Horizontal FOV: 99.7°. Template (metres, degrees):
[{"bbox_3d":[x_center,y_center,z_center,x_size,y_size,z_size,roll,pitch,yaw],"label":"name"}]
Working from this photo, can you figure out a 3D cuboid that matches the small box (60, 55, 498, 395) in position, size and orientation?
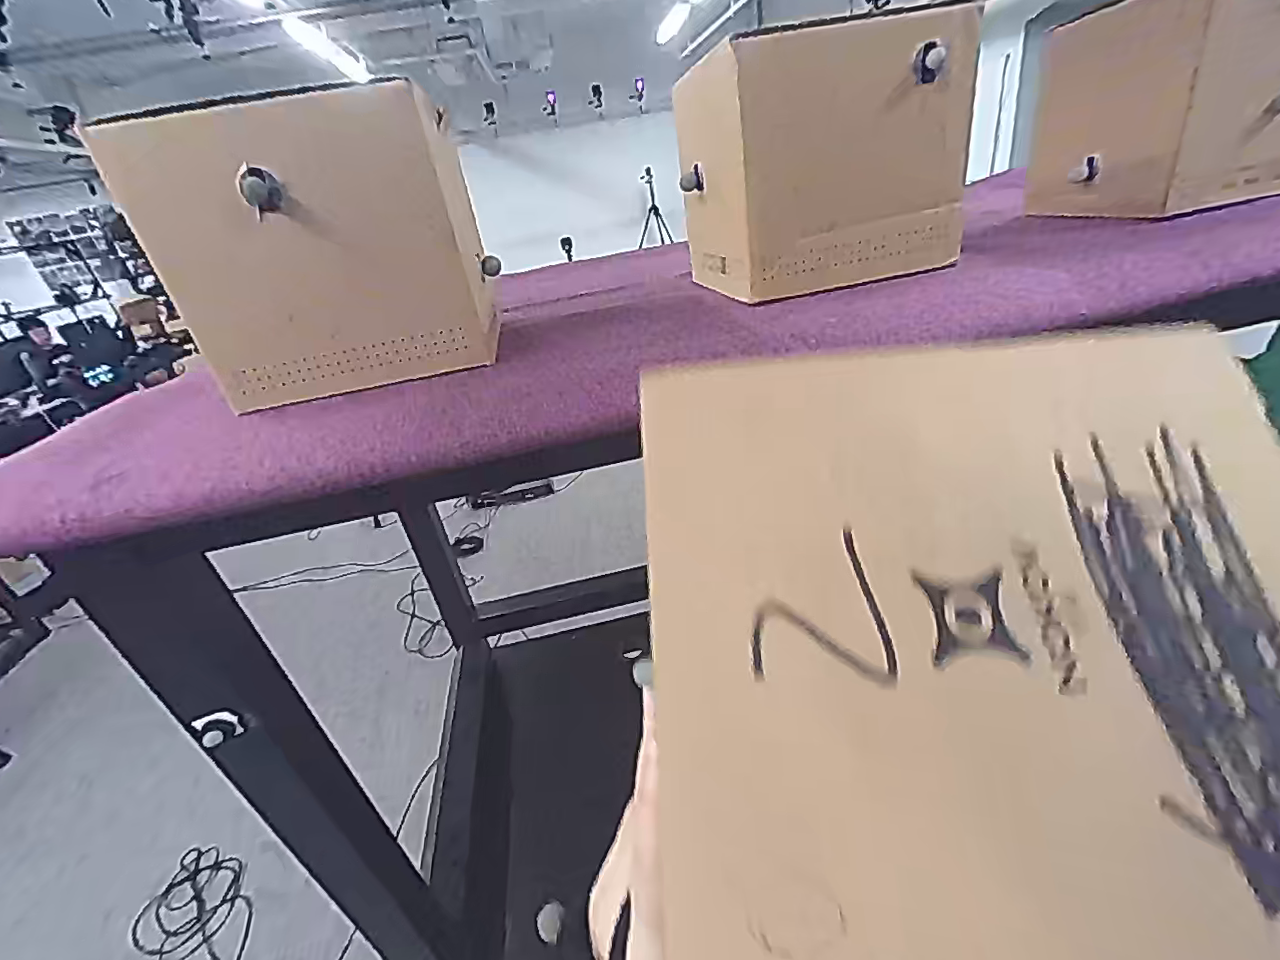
[{"bbox_3d":[-0.215,-0.172,0.389,0.179,0.176,0.168,-12,30,-5],"label":"small box"}]

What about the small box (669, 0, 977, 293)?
[{"bbox_3d":[0.135,-0.258,0.438,0.179,0.176,0.168,-12,27,-5],"label":"small box"}]

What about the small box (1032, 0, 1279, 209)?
[{"bbox_3d":[0.485,-0.342,0.469,0.168,0.176,0.179,-11,27,2],"label":"small box"}]
